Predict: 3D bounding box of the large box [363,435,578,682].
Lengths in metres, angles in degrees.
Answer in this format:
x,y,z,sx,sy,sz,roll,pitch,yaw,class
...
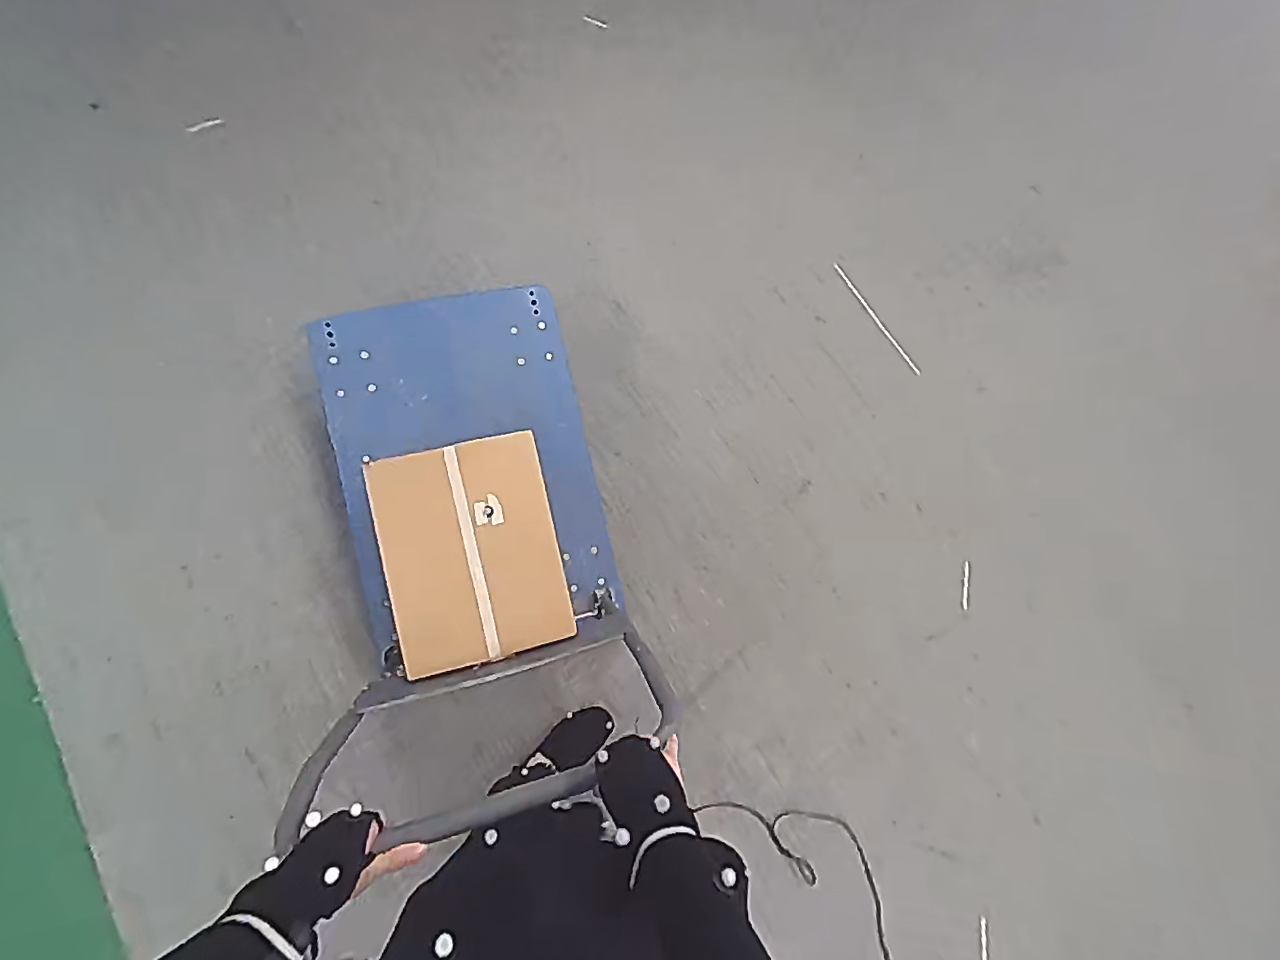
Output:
x,y,z,sx,sy,sz,roll,pitch,yaw,class
-0.335,0.152,1.151,0.320,0.320,0.408,-14,87,-11,large box
